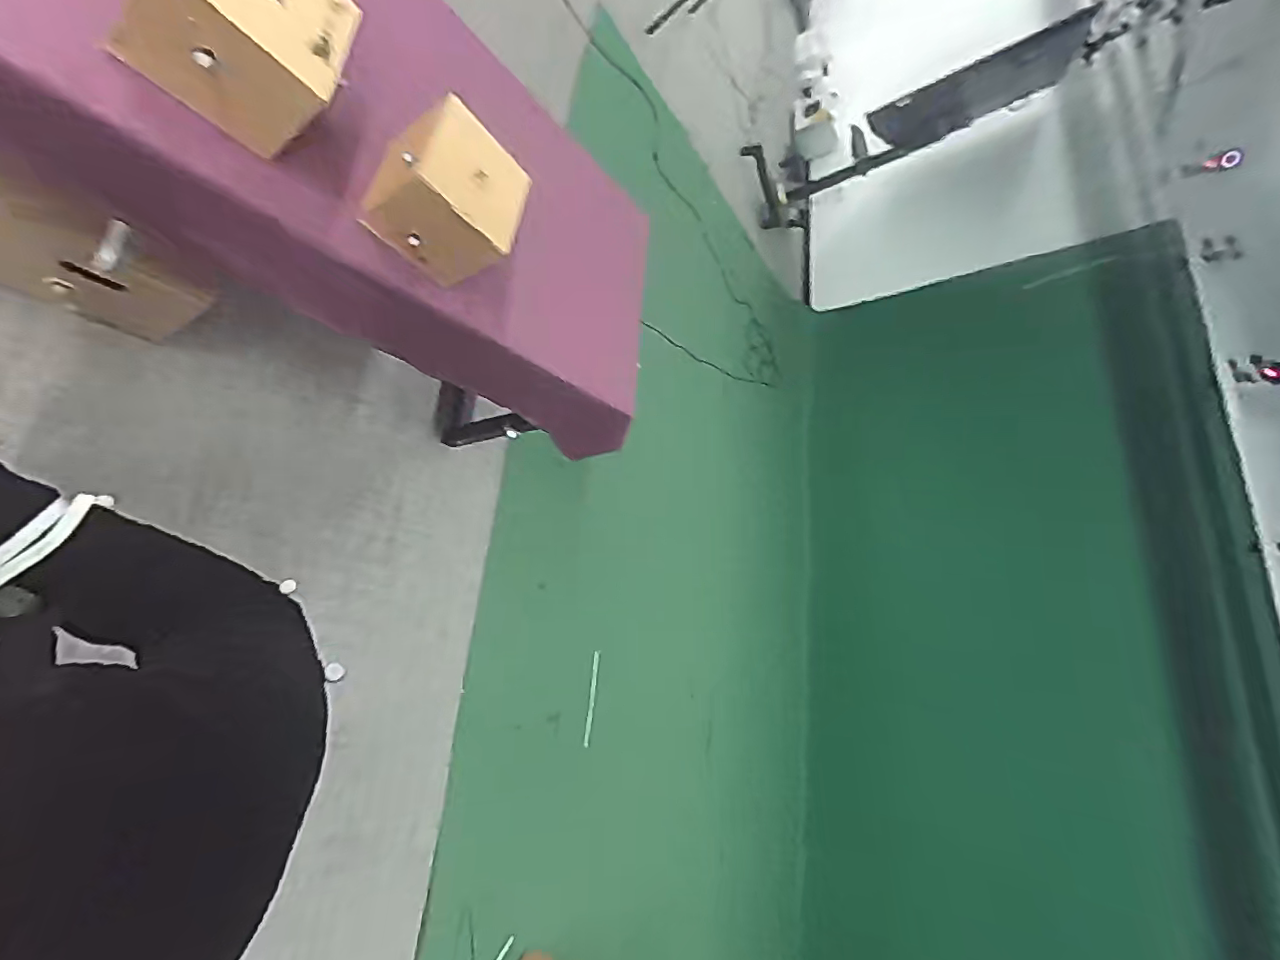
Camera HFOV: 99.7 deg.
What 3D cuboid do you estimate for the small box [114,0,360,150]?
[{"bbox_3d":[-0.483,-0.552,0.654,0.179,0.176,0.168,27,63,-49],"label":"small box"}]

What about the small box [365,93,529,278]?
[{"bbox_3d":[-0.314,-0.468,0.884,0.168,0.176,0.179,34,59,-47],"label":"small box"}]
